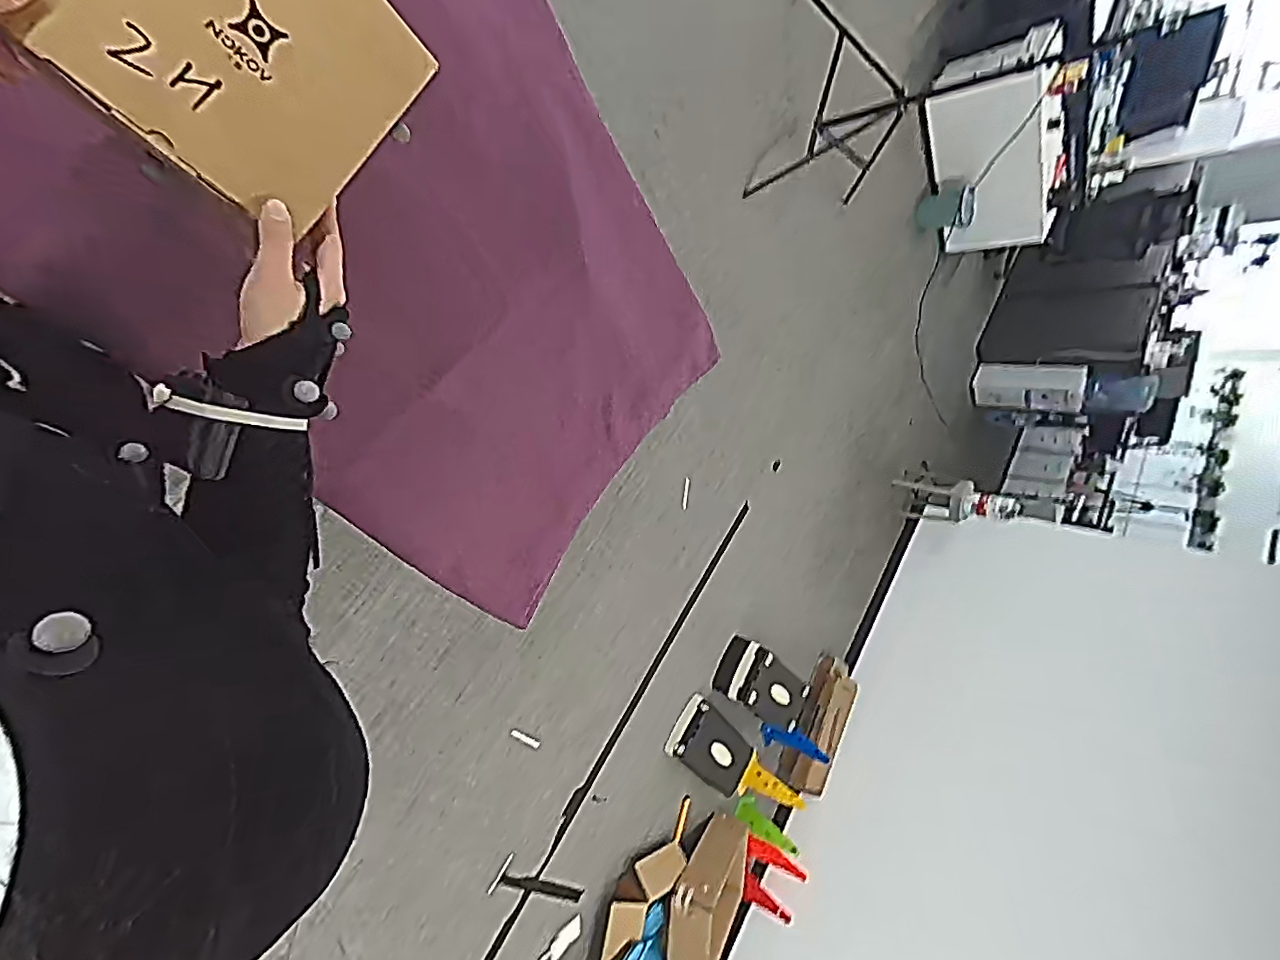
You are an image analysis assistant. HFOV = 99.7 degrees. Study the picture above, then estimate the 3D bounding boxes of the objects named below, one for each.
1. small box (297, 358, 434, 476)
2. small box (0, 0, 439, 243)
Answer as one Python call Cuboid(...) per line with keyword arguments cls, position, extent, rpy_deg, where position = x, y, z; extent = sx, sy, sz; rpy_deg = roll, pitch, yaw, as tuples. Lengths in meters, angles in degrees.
Cuboid(cls="small box", position=(-0.574, -0.133, 1.123), extent=(0.179, 0.176, 0.168), rpy_deg=(-55, 132, -22))
Cuboid(cls="small box", position=(-0.284, -0.296, 0.379), extent=(0.179, 0.176, 0.168), rpy_deg=(-55, 134, -6))
